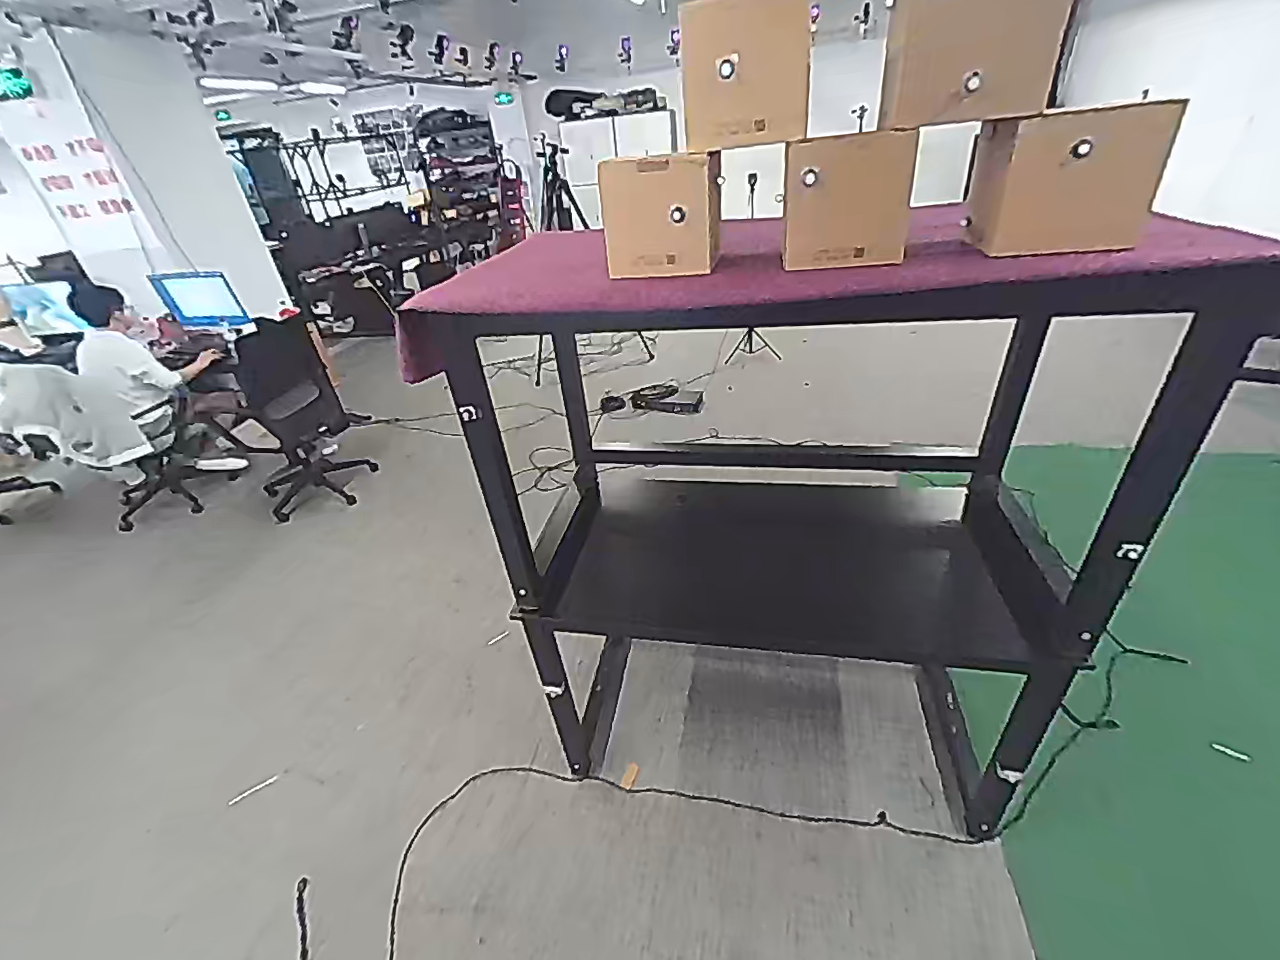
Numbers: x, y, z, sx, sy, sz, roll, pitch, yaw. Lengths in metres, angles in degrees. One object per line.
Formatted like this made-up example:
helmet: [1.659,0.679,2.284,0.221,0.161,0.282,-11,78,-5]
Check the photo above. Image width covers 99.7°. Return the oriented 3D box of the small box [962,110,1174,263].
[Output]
small box: [0.583,-0.414,0.772,0.179,0.176,0.168,2,33,13]

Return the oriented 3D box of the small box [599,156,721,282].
small box: [0.044,-0.428,0.893,0.168,0.176,0.179,3,33,14]

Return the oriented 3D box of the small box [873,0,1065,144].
small box: [0.423,-0.556,0.720,0.179,0.176,0.168,3,32,14]

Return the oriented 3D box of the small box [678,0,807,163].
small box: [0.156,-0.568,0.791,0.168,0.176,0.179,1,32,13]
